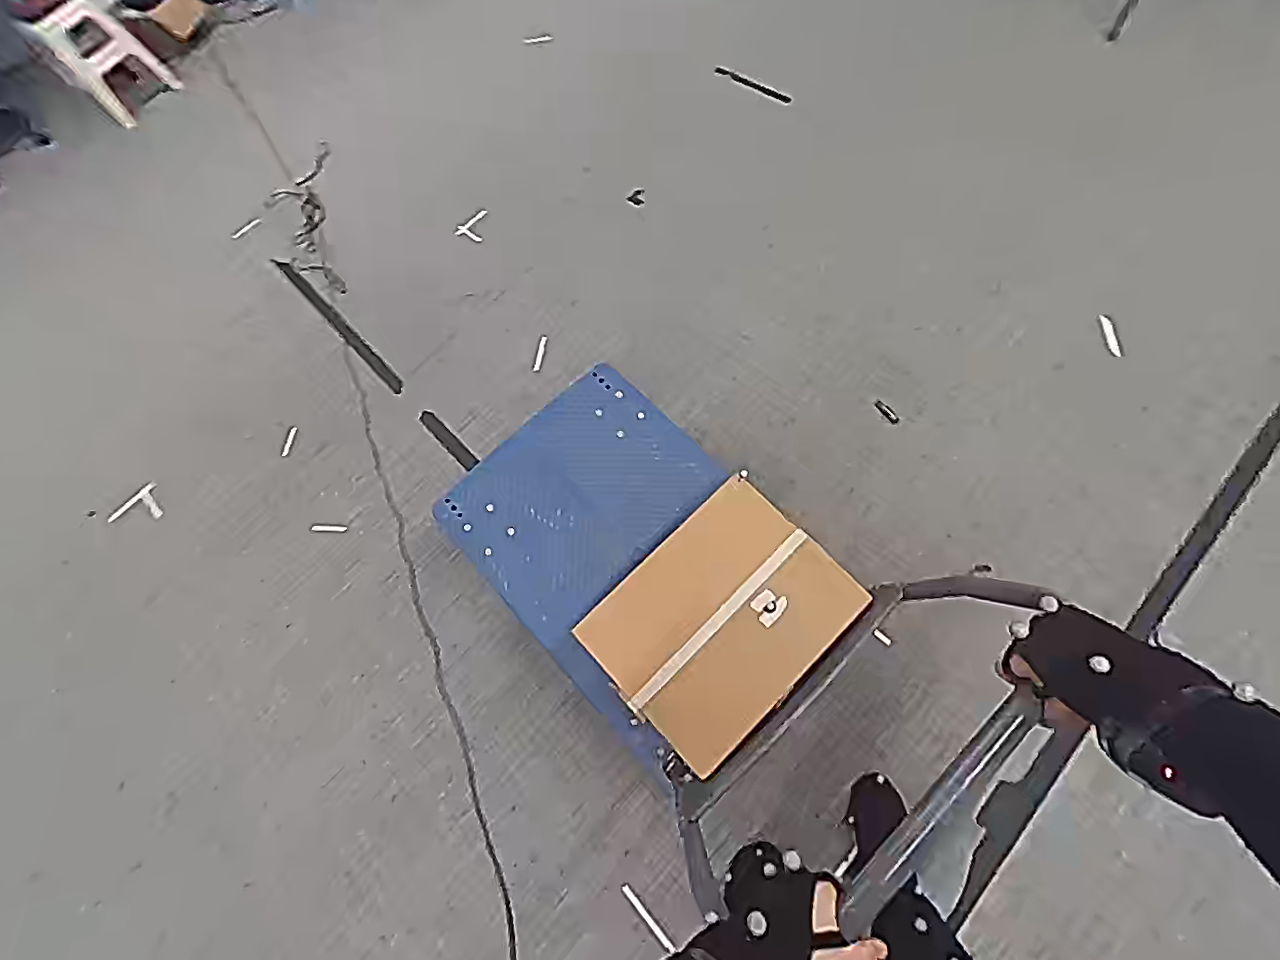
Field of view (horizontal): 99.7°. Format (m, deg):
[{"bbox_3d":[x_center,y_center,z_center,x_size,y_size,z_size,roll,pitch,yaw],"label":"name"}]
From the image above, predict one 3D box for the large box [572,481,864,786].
[{"bbox_3d":[0.135,0.283,1.035,0.408,0.320,0.320,-43,76,-11],"label":"large box"}]
